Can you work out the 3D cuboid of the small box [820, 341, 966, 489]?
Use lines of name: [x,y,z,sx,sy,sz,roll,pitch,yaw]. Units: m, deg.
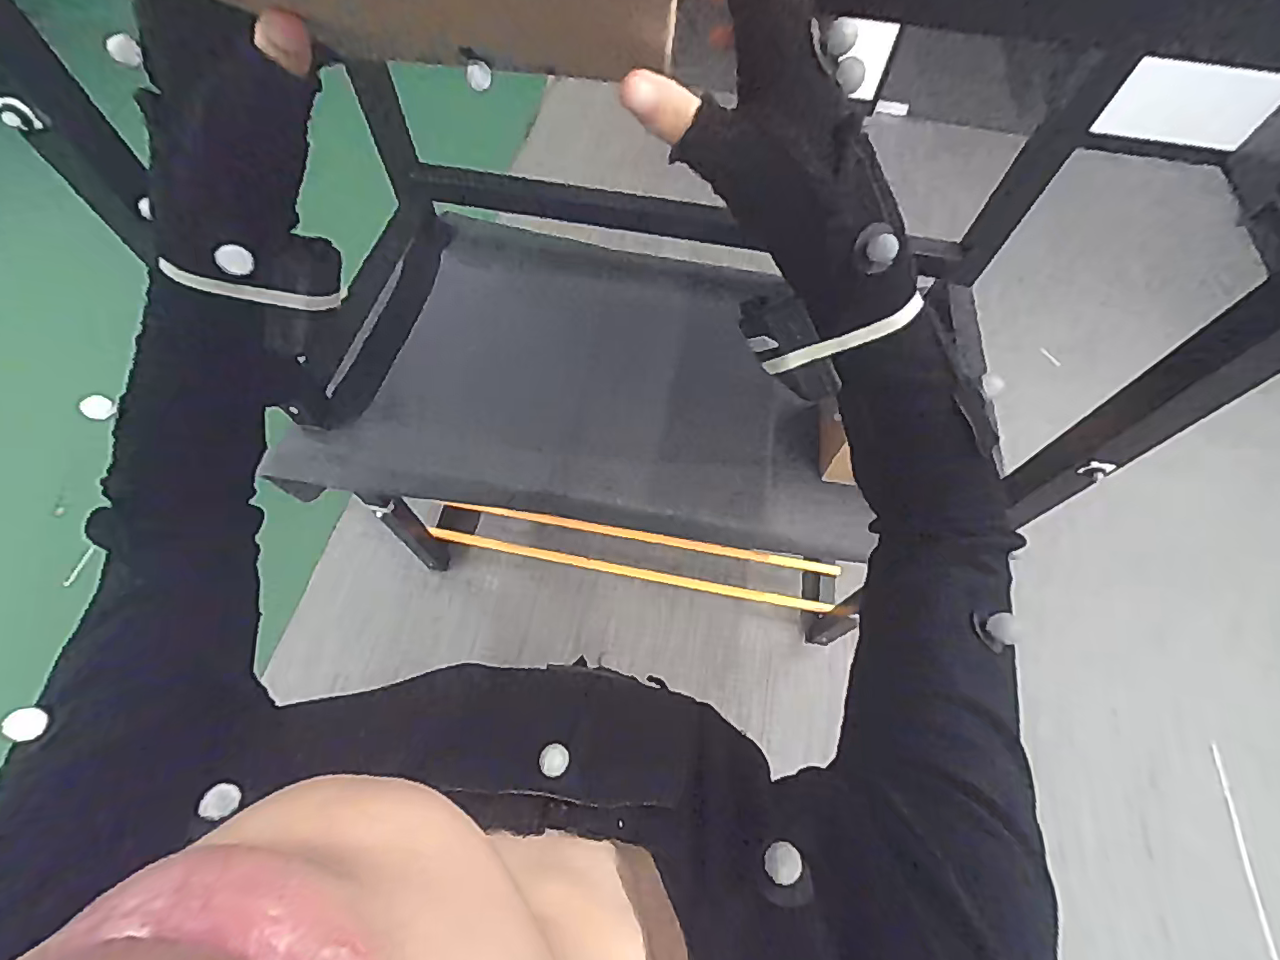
small box: [0.412,-0.102,0.910,0.168,0.176,0.179,9,61,2]
